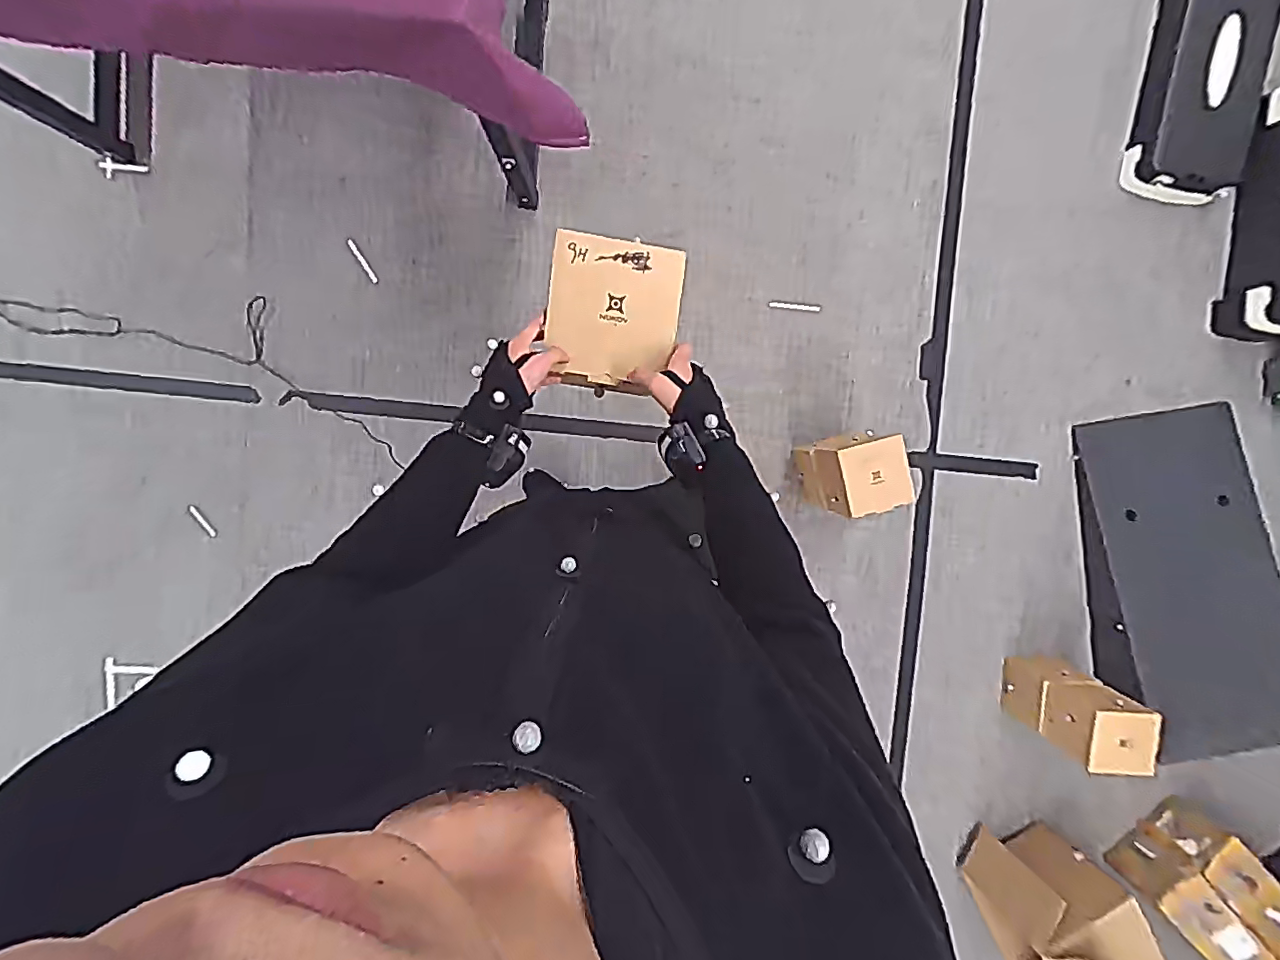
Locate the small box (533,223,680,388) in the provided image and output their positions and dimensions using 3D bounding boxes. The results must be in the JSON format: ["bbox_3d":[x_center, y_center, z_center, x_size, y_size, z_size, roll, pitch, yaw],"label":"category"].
[{"bbox_3d":[-0.051,-0.228,0.755,0.168,0.176,0.179,7,96,-9],"label":"small box"}]
